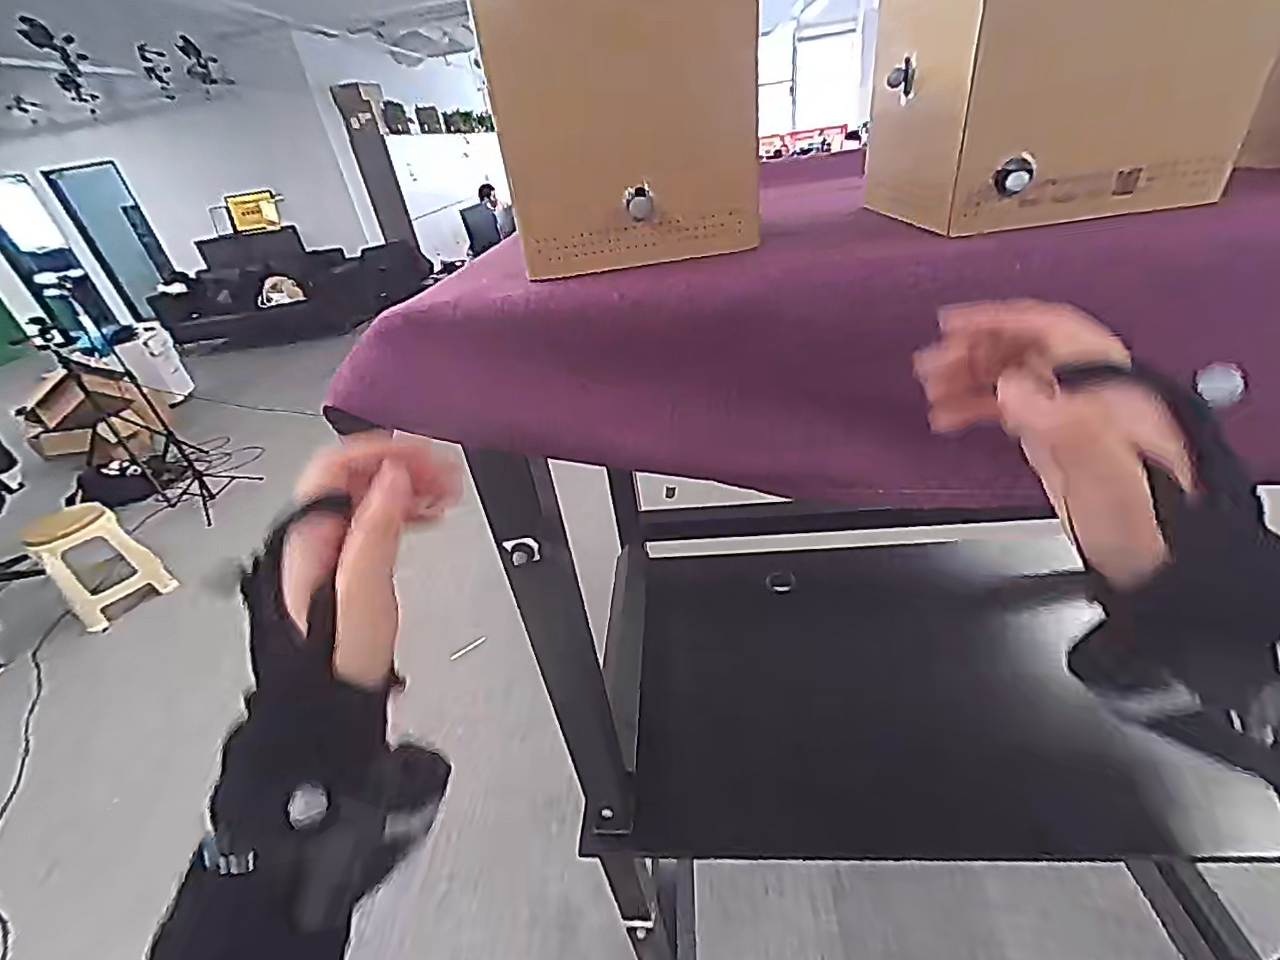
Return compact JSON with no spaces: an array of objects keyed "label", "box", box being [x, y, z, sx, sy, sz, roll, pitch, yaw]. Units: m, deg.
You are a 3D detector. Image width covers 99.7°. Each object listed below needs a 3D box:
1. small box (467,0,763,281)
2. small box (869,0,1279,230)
[{"label":"small box","box":[-0.015,-0.265,0.417,0.179,0.176,0.168,-9,32,-2]},{"label":"small box","box":[0.271,-0.277,0.369,0.168,0.176,0.179,-6,31,5]}]
